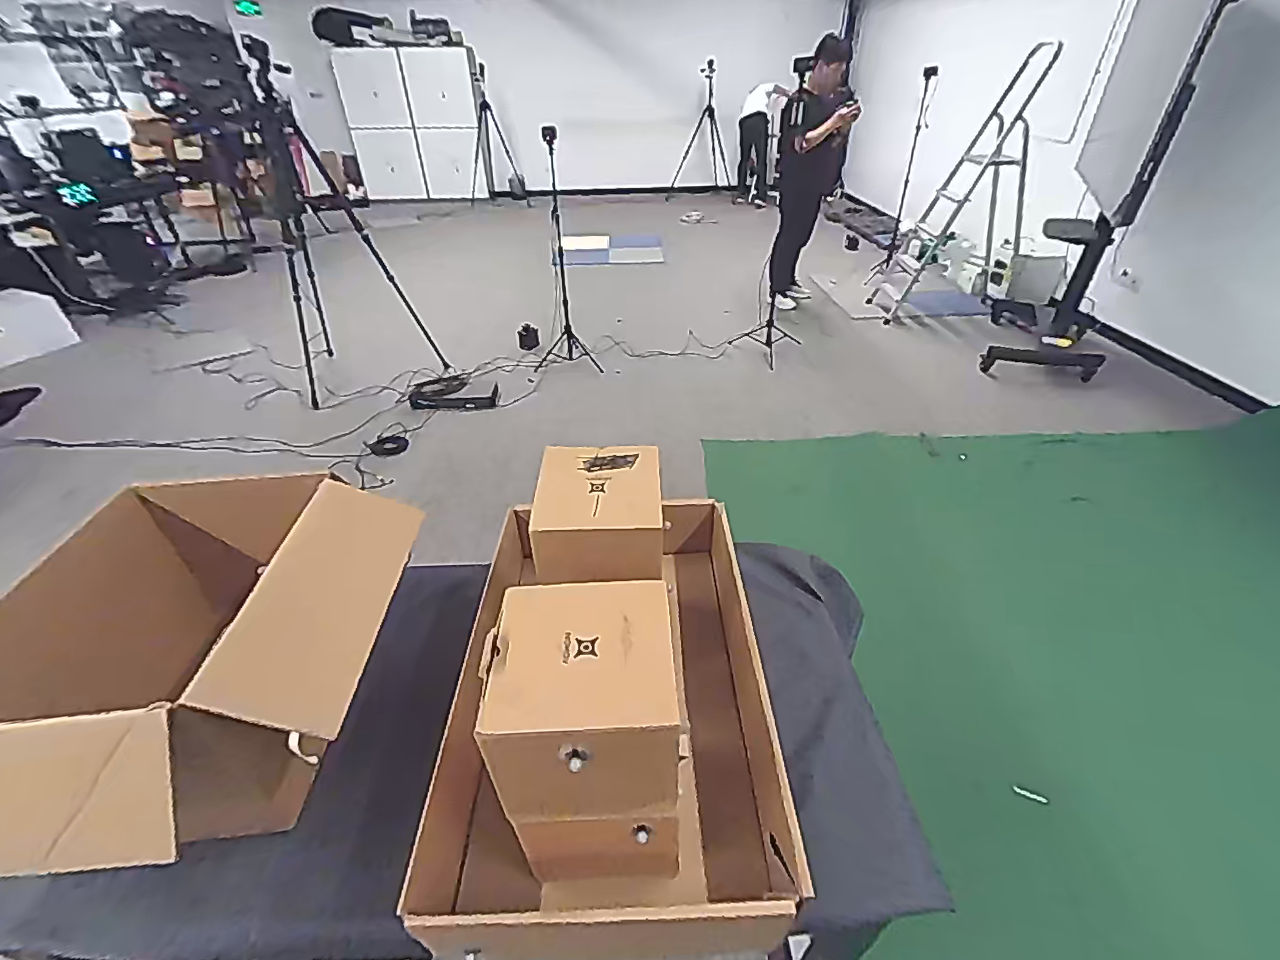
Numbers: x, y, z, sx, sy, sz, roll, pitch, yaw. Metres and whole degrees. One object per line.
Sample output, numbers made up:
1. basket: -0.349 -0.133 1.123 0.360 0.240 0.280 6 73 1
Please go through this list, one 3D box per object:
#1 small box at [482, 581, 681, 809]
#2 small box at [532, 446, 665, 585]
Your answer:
1. small box: -0.050 0.227 0.573 0.179 0.176 0.168 -2 38 -1
2. small box: -0.051 0.068 0.773 0.168 0.176 0.179 -1 40 0
